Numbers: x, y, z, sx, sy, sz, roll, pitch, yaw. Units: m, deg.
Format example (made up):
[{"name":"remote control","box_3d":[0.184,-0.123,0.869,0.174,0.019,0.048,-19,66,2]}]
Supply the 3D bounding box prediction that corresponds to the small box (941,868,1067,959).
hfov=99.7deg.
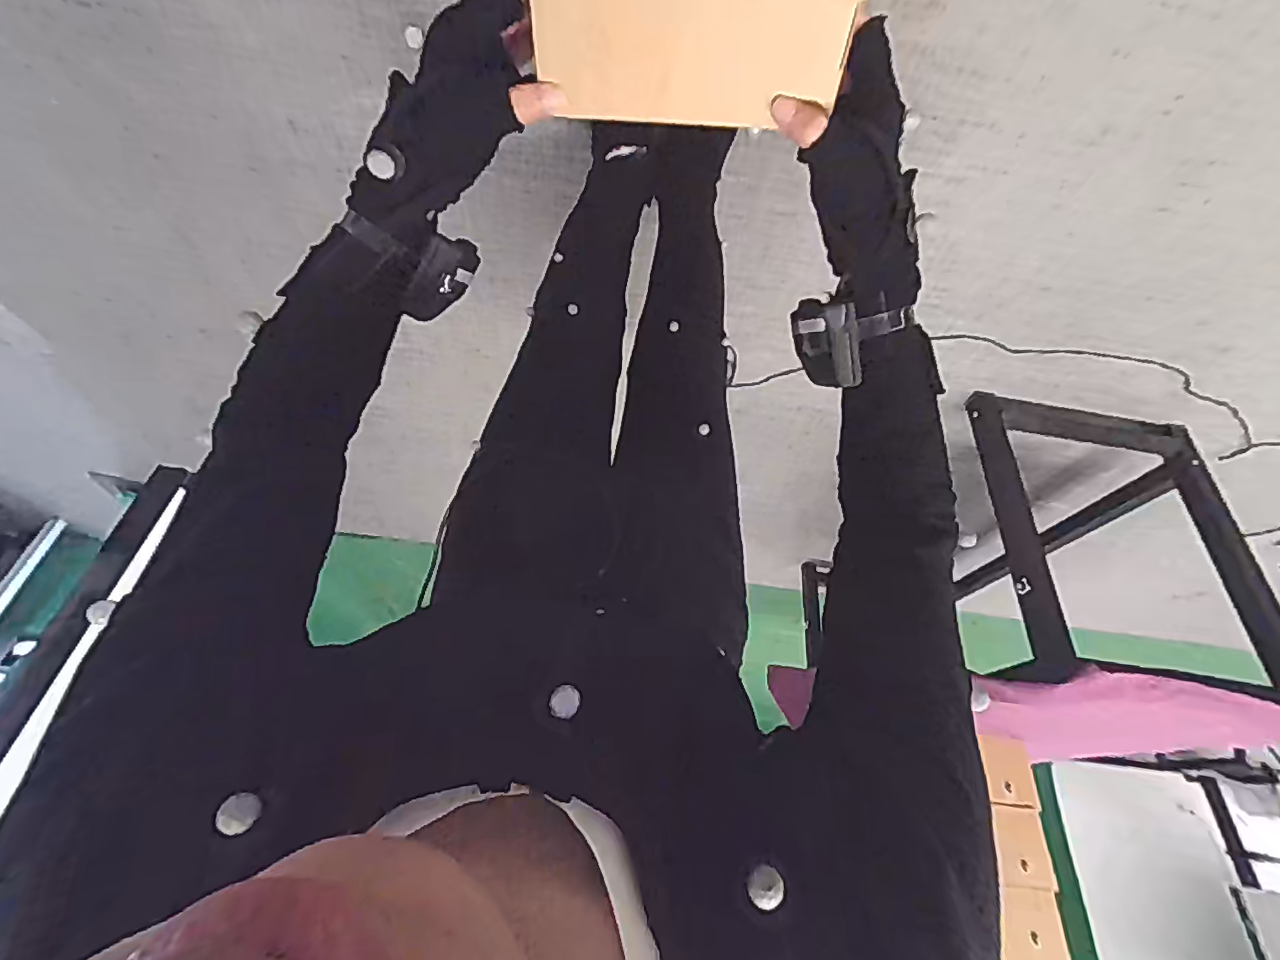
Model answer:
[{"name":"small box","box_3d":[0.858,1.042,1.291,0.179,0.176,0.168,10,148,-6]}]

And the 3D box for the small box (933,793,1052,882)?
[{"name":"small box","box_3d":[0.885,0.903,1.375,0.179,0.176,0.168,10,147,-5]}]

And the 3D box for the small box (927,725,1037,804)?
[{"name":"small box","box_3d":[0.917,0.770,1.466,0.179,0.176,0.168,11,148,-6]}]
